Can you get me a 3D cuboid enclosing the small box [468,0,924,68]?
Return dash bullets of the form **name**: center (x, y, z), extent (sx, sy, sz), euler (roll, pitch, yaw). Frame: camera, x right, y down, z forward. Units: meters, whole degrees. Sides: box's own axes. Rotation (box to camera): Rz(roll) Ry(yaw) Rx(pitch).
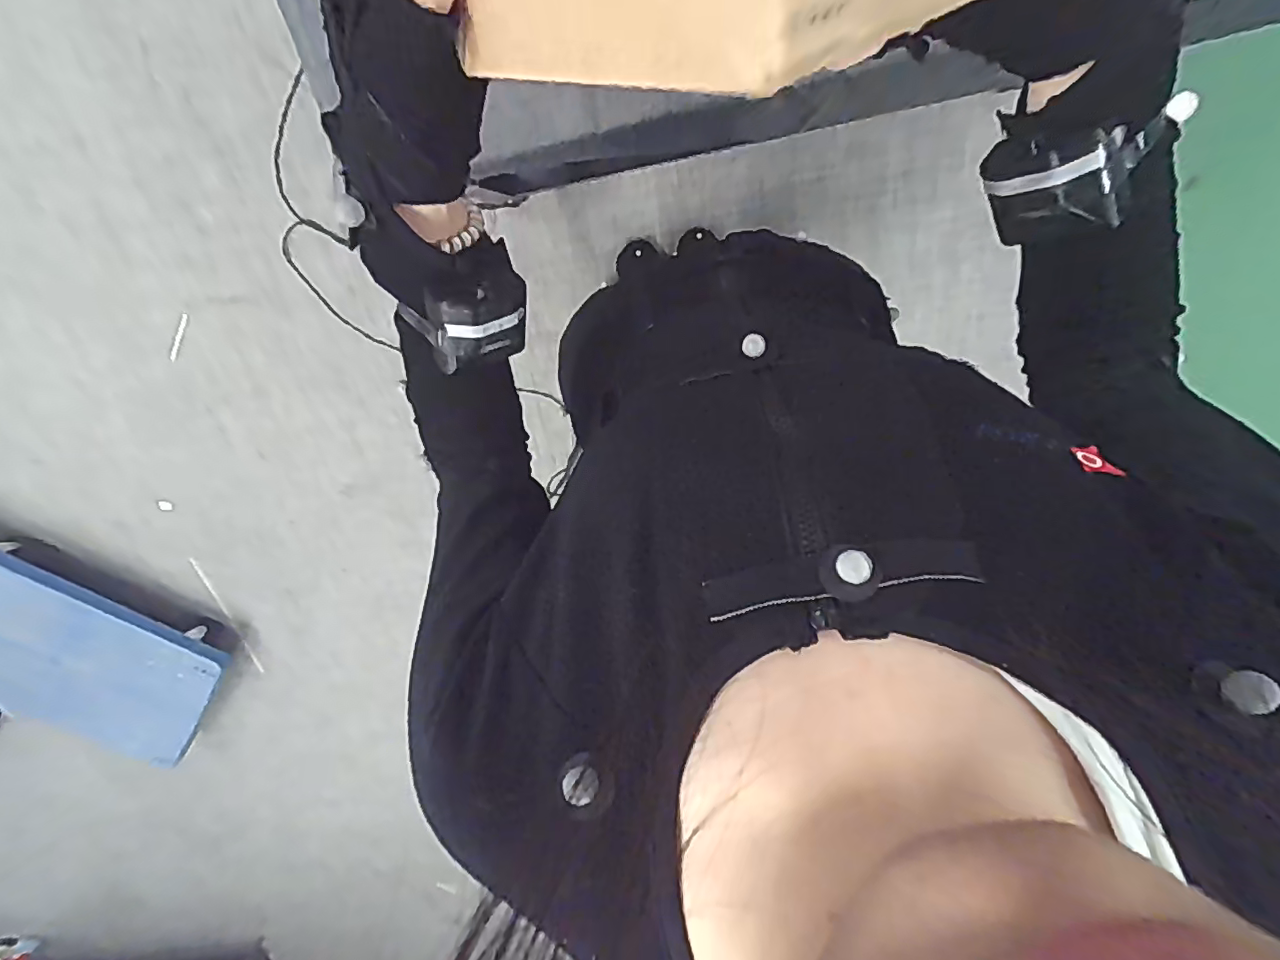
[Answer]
- **small box**: center (0.025, -0.253, 0.168), extent (0.176, 0.168, 0.179), euler (-39, 143, -22)
